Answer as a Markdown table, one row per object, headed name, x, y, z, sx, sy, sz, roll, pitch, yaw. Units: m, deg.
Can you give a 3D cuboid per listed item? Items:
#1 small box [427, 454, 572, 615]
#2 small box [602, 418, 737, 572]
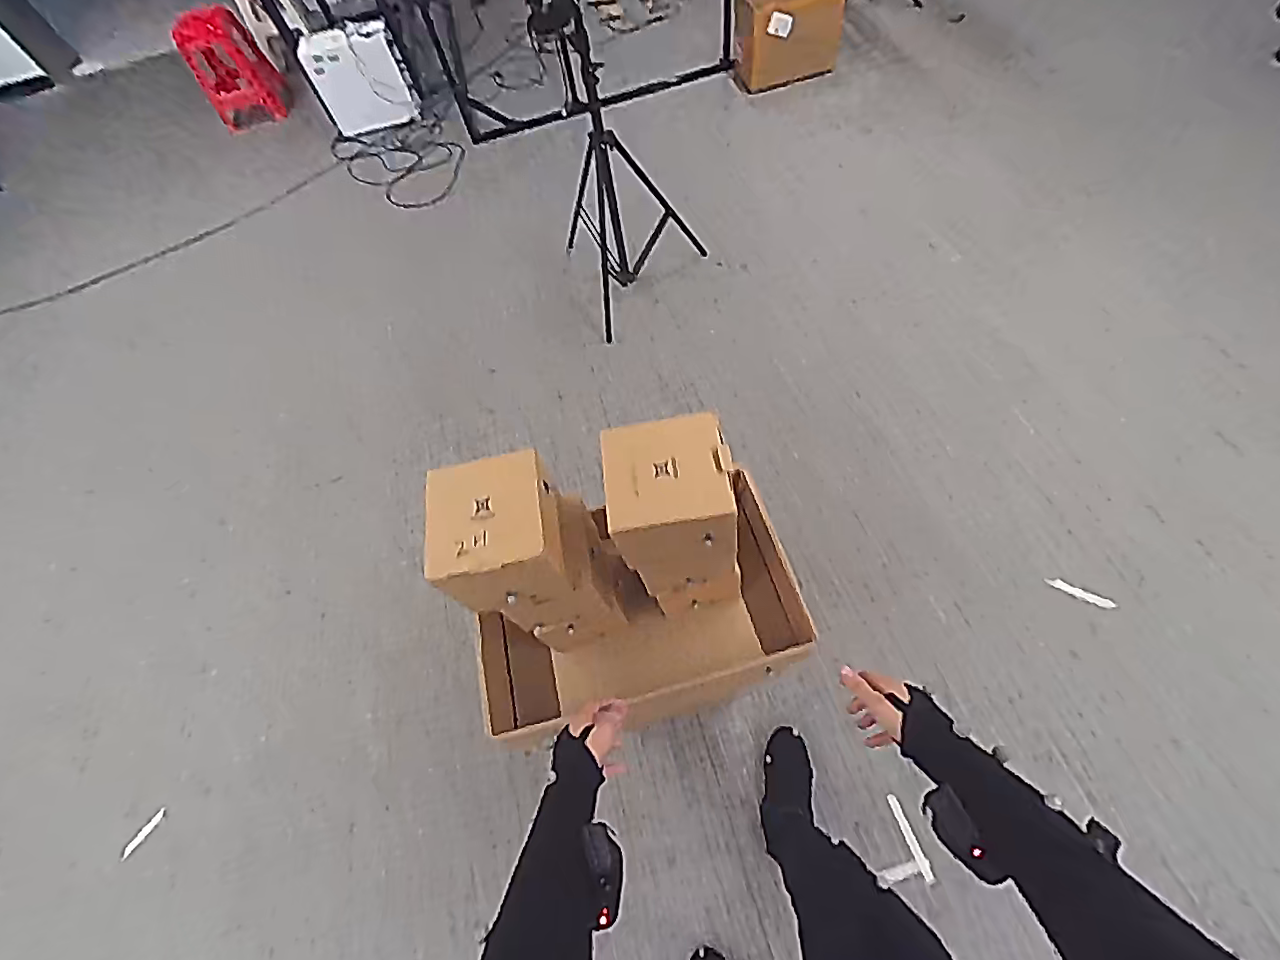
| name | x | y | z | sx | sy | sz | roll | pitch | yaw |
| --- | --- | --- | --- | --- | --- | --- | --- | --- | --- |
| small box | -0.208 | 0.089 | 0.827 | 0.168 | 0.176 | 0.179 | -12 | 61 | 1 |
| small box | 0.047 | 0.029 | 0.825 | 0.179 | 0.176 | 0.168 | -9 | 62 | 5 |
